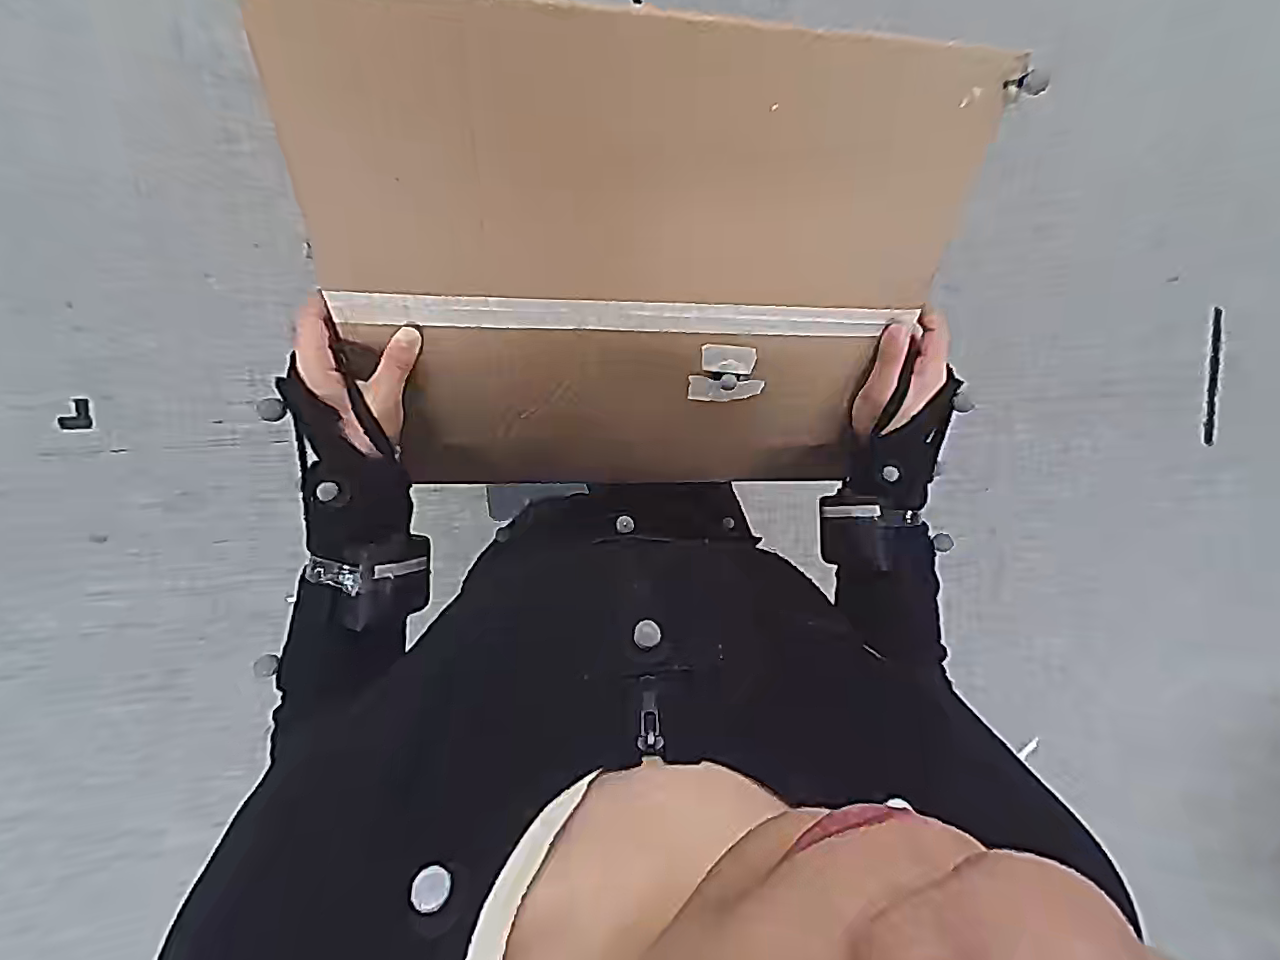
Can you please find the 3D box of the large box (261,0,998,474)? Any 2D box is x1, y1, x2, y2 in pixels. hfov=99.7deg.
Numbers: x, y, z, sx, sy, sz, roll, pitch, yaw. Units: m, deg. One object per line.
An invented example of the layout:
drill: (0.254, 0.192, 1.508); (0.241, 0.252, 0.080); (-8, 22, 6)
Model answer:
large box: (-0.018, -0.226, 0.491); (0.408, 0.320, 0.320); (-2, 133, -8)

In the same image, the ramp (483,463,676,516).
ramp: (-0.156, -0.396, 1.249); (0.509, 0.206, 0.991); (-5, 99, -8)
